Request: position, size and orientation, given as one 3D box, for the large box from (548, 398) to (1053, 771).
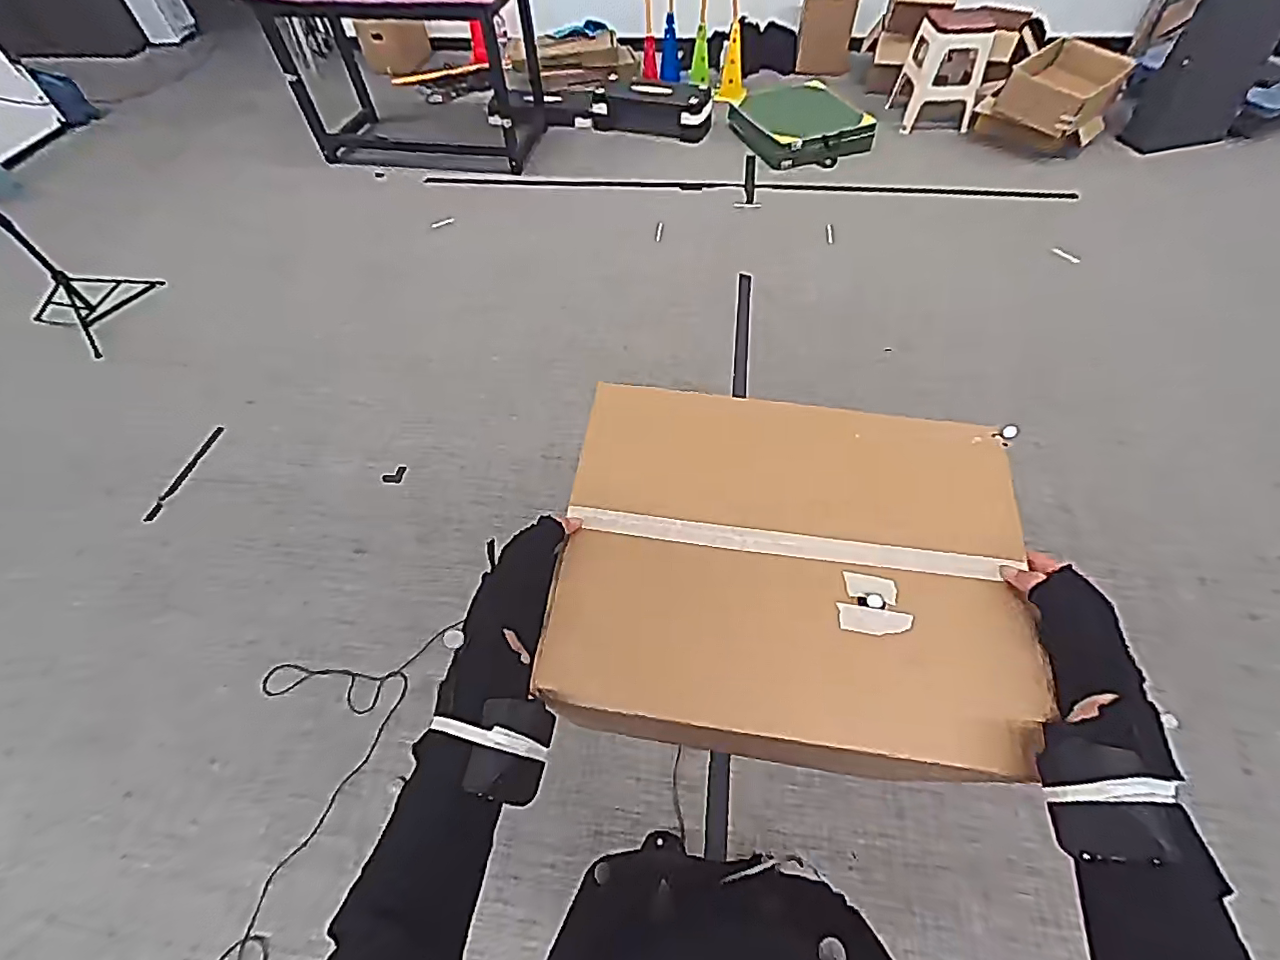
[{"bbox_3d":[0.138,0.136,0.624,0.408,0.320,0.320,7,62,4],"label":"large box"}]
